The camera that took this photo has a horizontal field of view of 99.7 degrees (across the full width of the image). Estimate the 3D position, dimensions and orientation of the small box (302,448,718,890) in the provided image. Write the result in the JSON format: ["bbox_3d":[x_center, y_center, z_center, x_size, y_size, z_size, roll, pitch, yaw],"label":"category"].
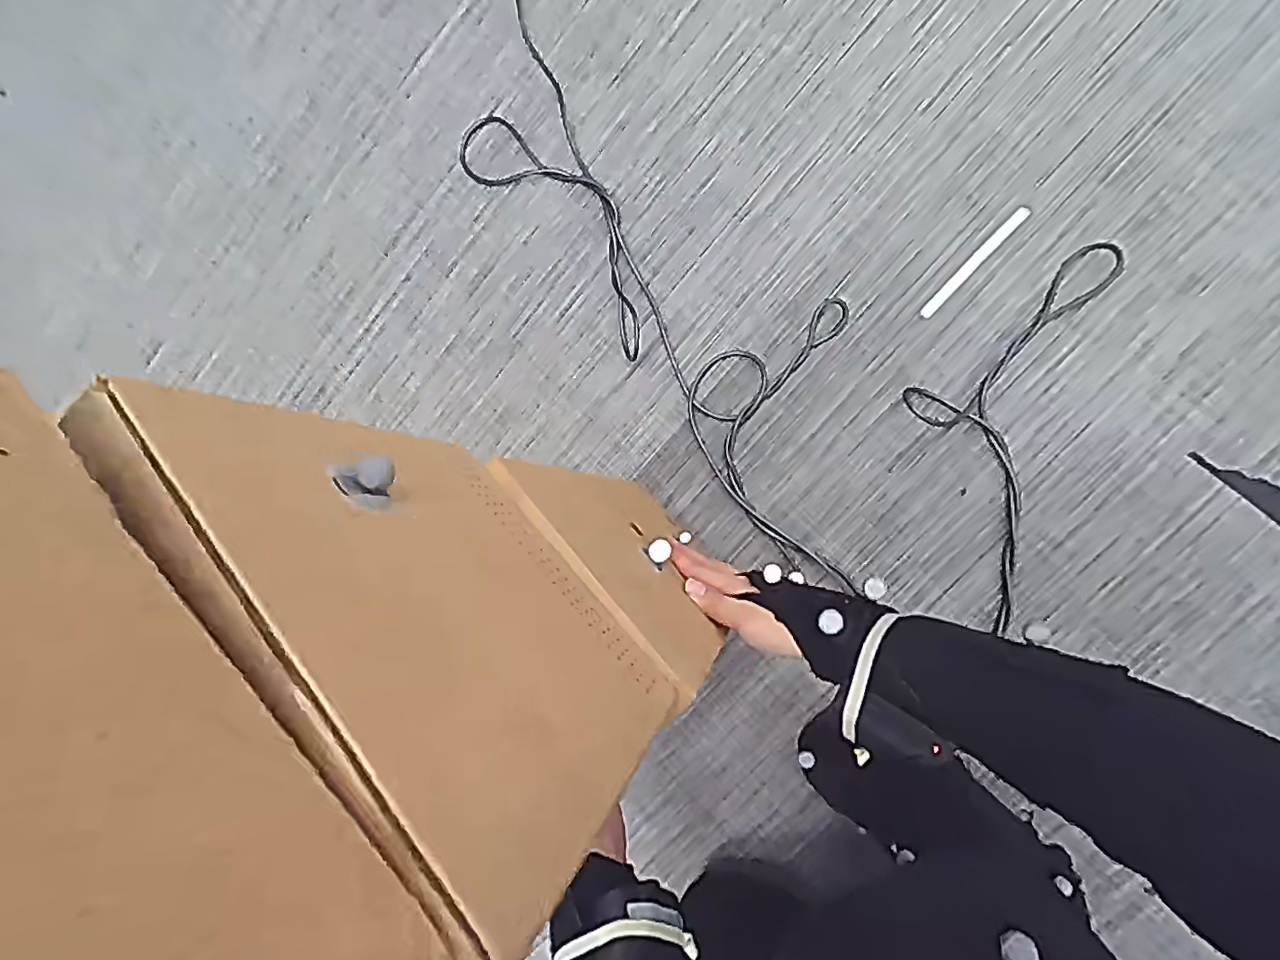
[{"bbox_3d":[-0.065,0.104,0.363,0.179,0.176,0.168,-43,78,7],"label":"small box"}]

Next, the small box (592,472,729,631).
[{"bbox_3d":[-0.029,0.112,0.523,0.179,0.176,0.168,-44,77,9],"label":"small box"}]
